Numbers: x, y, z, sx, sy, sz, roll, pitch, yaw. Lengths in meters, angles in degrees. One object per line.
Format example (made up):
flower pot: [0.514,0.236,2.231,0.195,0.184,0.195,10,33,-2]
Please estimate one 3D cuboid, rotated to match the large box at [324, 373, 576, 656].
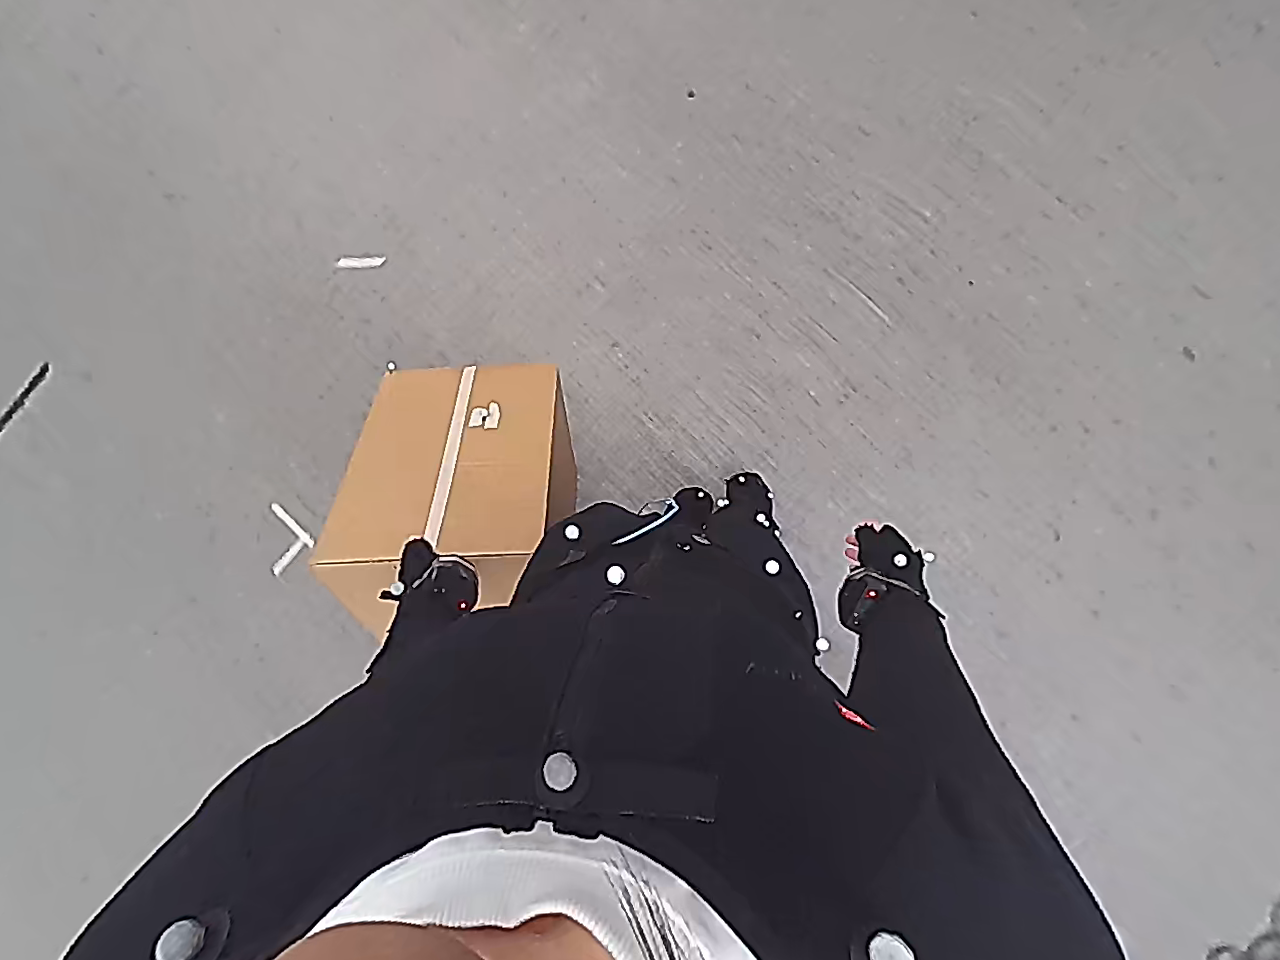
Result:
large box: [-0.290,0.059,0.980,0.320,0.320,0.408,-3,49,-1]
